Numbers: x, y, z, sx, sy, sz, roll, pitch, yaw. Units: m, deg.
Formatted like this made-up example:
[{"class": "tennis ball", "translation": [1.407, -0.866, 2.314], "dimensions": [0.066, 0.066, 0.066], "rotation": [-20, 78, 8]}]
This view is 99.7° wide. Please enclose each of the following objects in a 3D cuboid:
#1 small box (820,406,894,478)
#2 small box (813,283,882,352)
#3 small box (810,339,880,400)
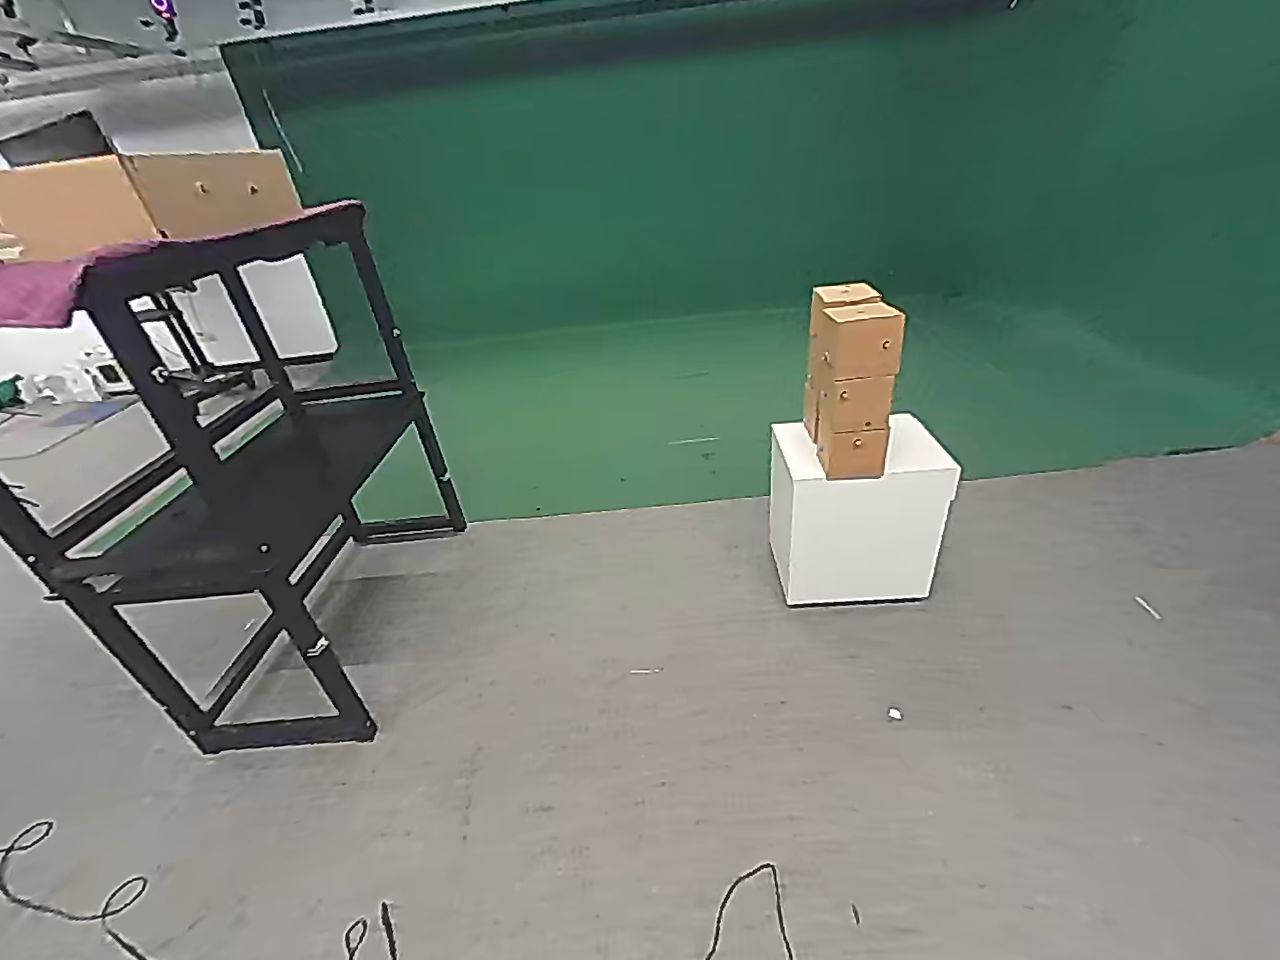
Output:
[{"class": "small box", "translation": [0.681, -0.120, 1.716], "dimensions": [0.179, 0.176, 0.168], "rotation": [-4, 31, 7]}, {"class": "small box", "translation": [0.657, -0.514, 1.727], "dimensions": [0.168, 0.176, 0.179], "rotation": [-3, 34, 6]}, {"class": "small box", "translation": [0.683, -0.380, 1.819], "dimensions": [0.179, 0.176, 0.168], "rotation": [-3, 33, 6]}]
